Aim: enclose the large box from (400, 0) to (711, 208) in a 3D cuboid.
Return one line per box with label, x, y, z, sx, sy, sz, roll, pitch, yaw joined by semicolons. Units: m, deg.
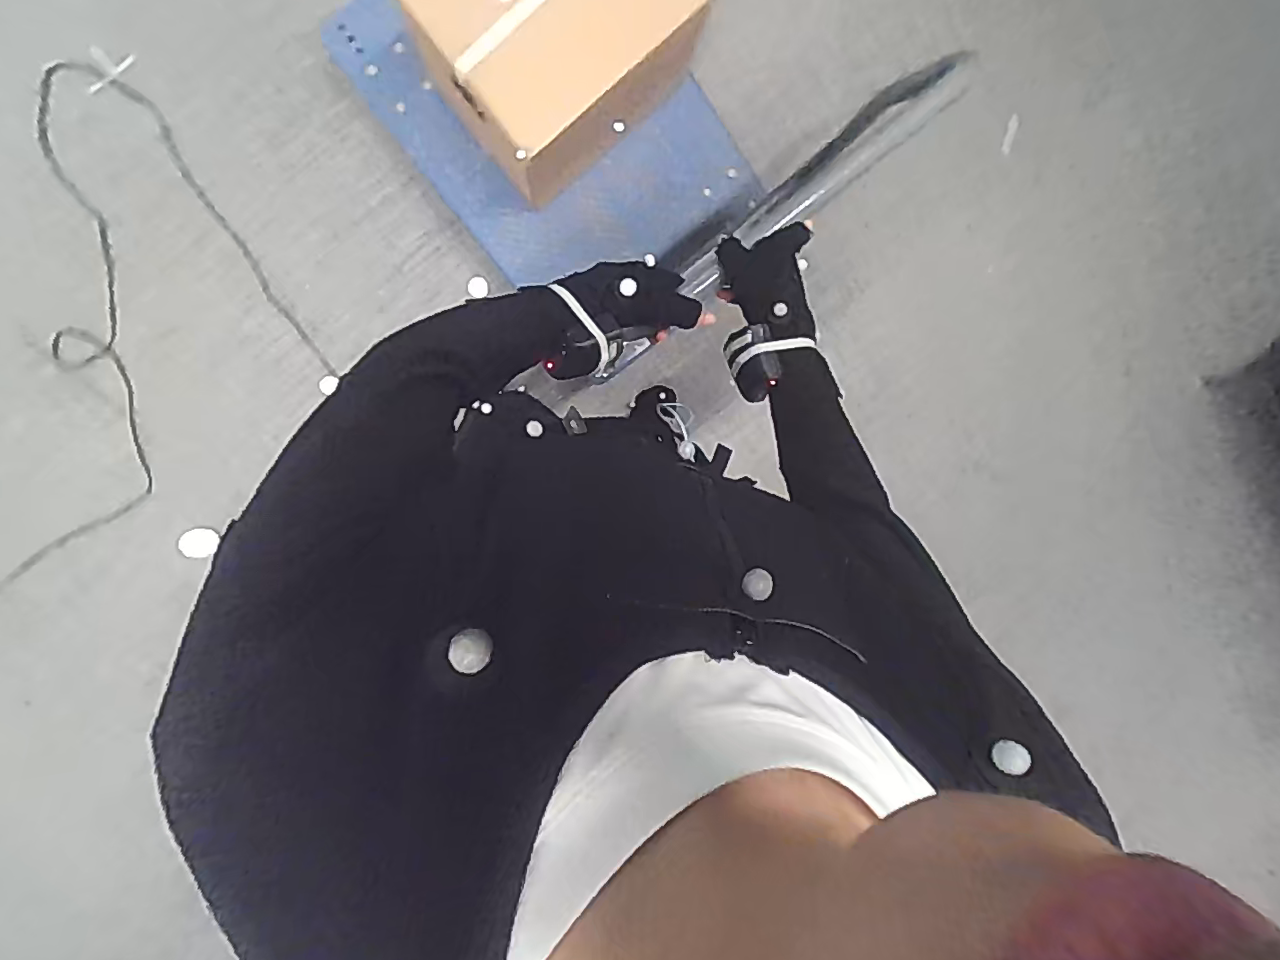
large box;-0.141;-0.787;0.978;0.408;0.320;0.320;-40;103;3
